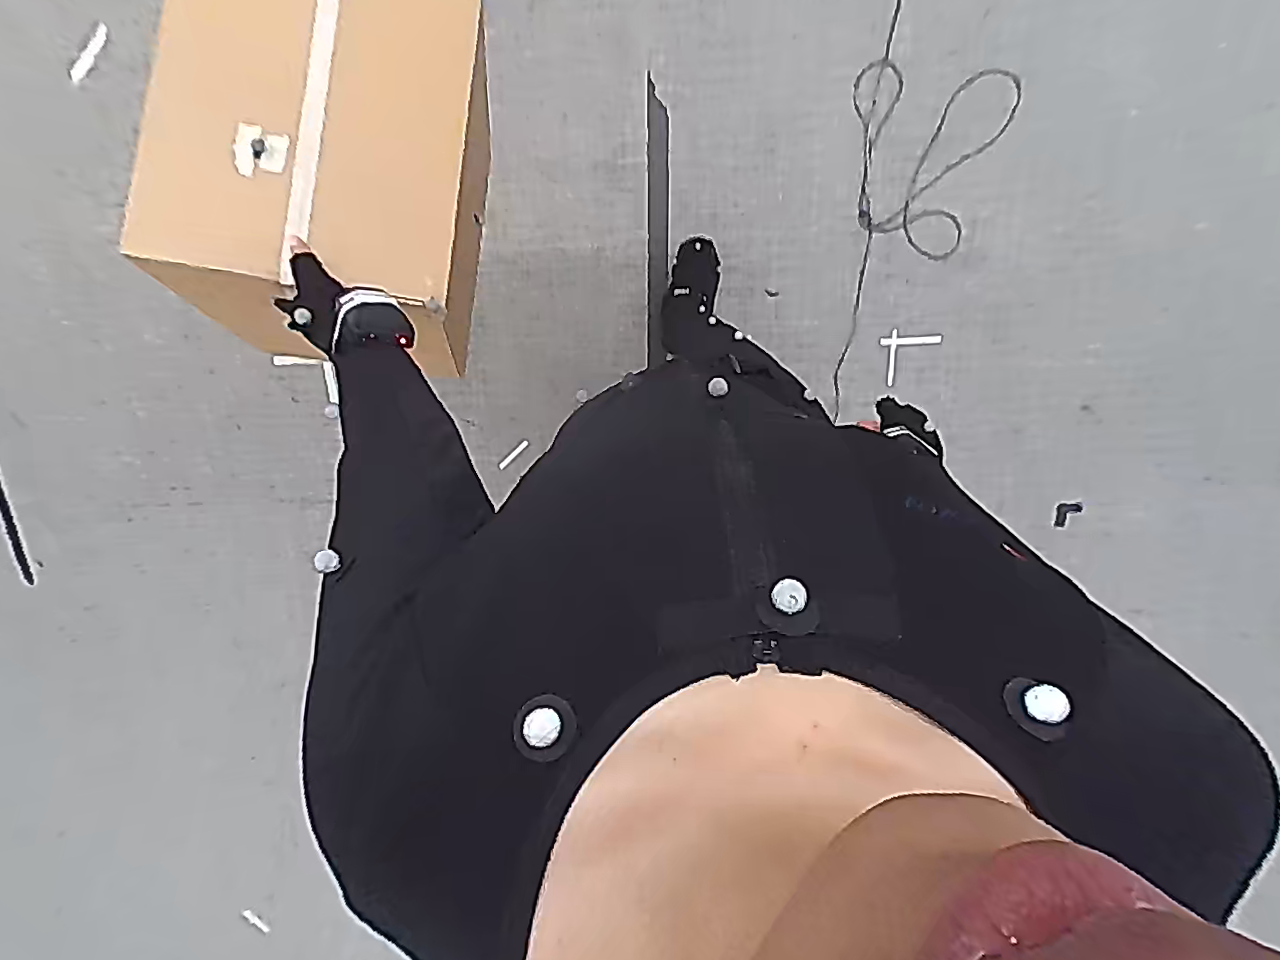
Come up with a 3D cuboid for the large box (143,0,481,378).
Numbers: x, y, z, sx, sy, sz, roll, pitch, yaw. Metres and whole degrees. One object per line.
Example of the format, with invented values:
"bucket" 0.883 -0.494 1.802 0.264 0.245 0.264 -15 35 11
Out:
"large box" -0.400 -0.395 0.765 0.320 0.320 0.408 5 84 -12
